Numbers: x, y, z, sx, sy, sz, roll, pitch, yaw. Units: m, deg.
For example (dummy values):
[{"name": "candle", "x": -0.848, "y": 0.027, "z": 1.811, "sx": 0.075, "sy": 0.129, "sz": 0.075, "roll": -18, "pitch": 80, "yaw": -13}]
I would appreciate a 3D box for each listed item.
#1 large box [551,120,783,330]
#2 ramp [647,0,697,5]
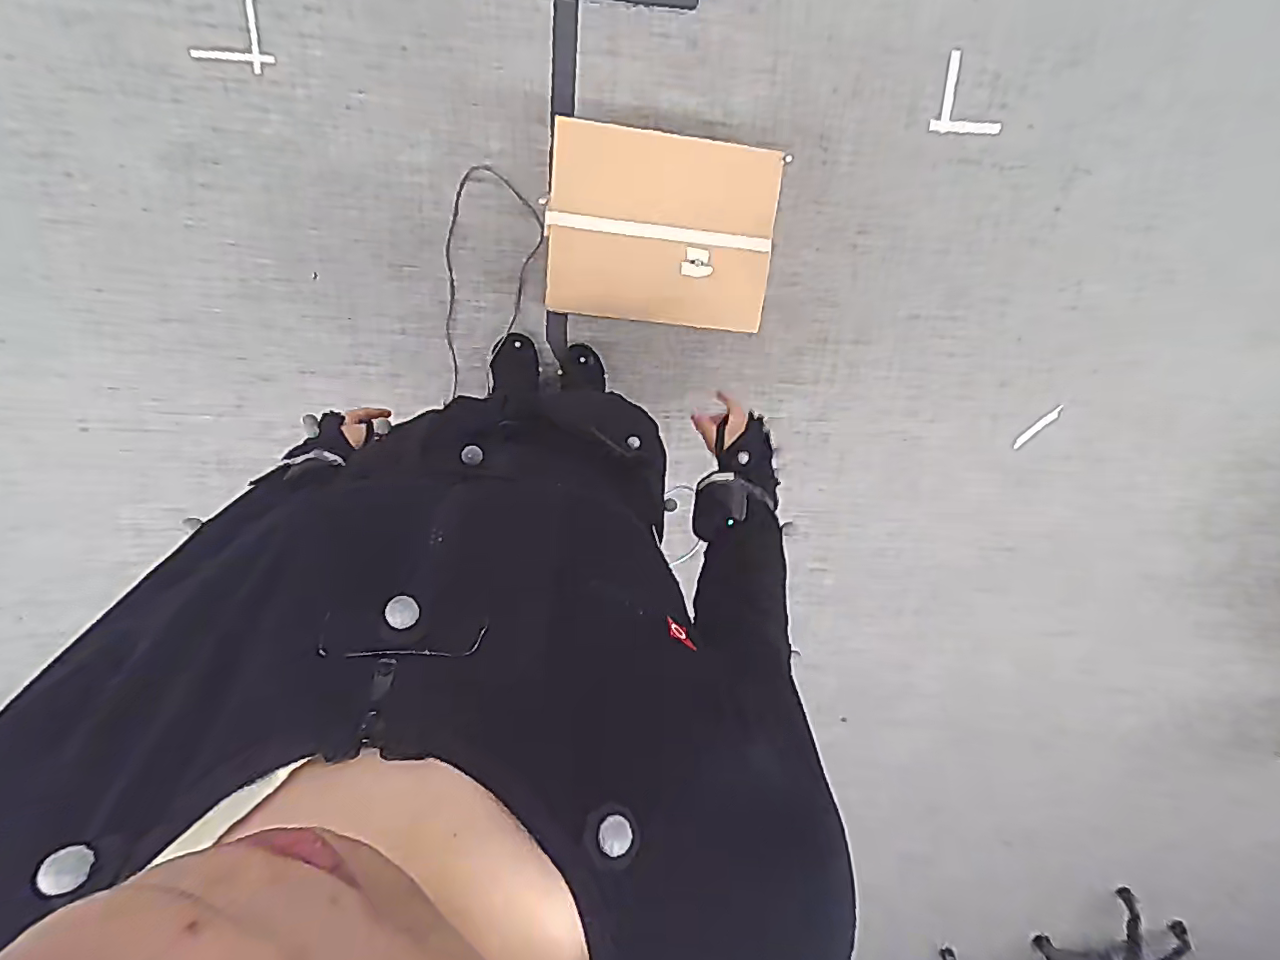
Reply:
[{"name": "large box", "x": 0.026, "y": -0.485, "z": 1.110, "sx": 0.408, "sy": 0.320, "sz": 0.320, "roll": 4, "pitch": 107, "yaw": -8}, {"name": "ramp", "x": -0.074, "y": -1.430, "z": 0.866, "sx": 0.509, "sy": 0.206, "sz": 0.991, "roll": 0, "pitch": 108, "yaw": -7}]
